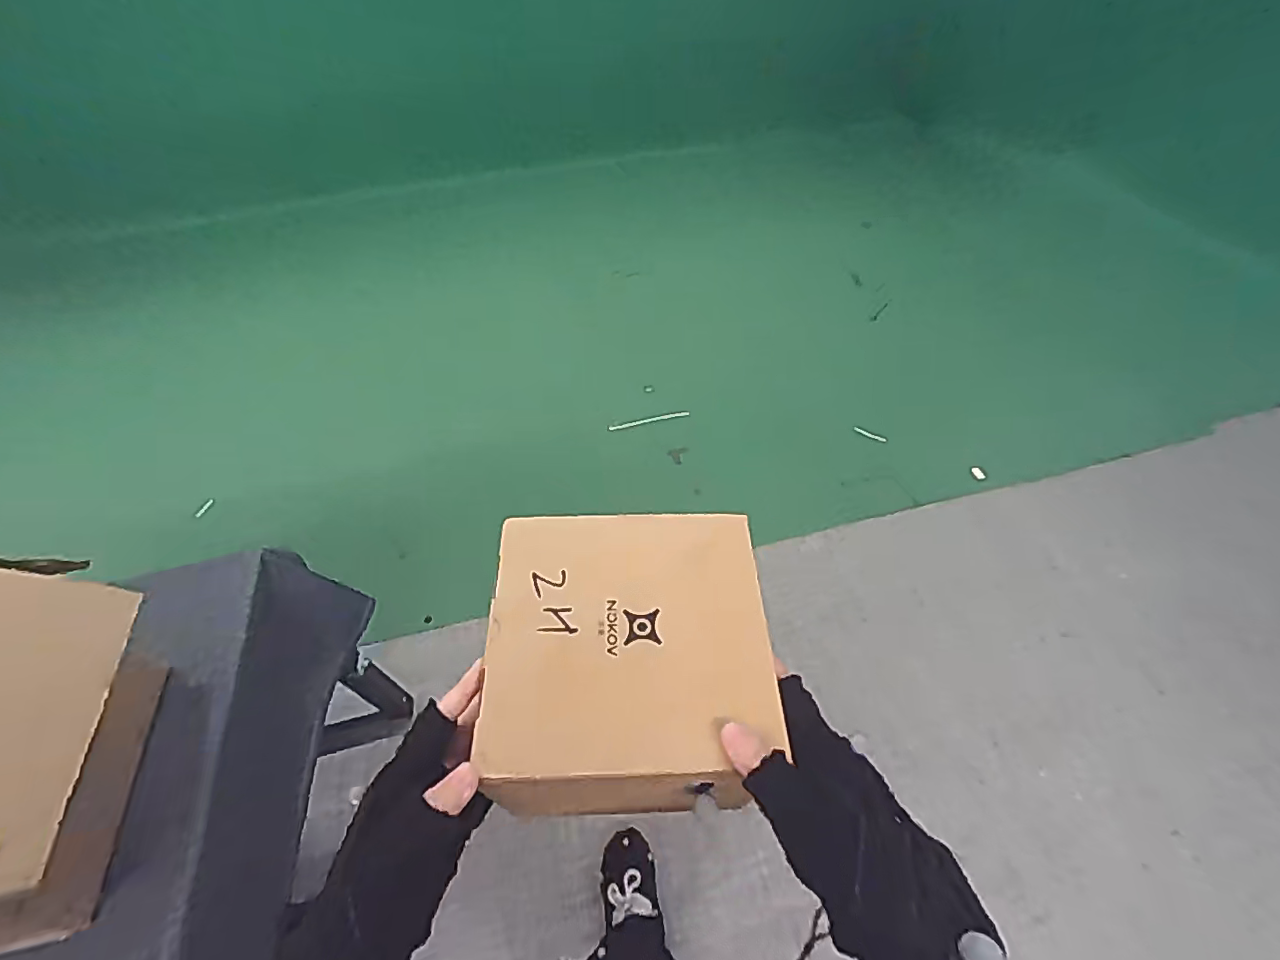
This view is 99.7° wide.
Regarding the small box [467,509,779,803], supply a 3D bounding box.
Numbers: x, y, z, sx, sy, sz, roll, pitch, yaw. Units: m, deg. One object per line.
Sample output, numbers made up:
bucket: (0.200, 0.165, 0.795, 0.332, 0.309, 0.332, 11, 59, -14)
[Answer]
small box: (-0.013, 0.137, 0.408, 0.179, 0.176, 0.168, 1, 52, -3)
